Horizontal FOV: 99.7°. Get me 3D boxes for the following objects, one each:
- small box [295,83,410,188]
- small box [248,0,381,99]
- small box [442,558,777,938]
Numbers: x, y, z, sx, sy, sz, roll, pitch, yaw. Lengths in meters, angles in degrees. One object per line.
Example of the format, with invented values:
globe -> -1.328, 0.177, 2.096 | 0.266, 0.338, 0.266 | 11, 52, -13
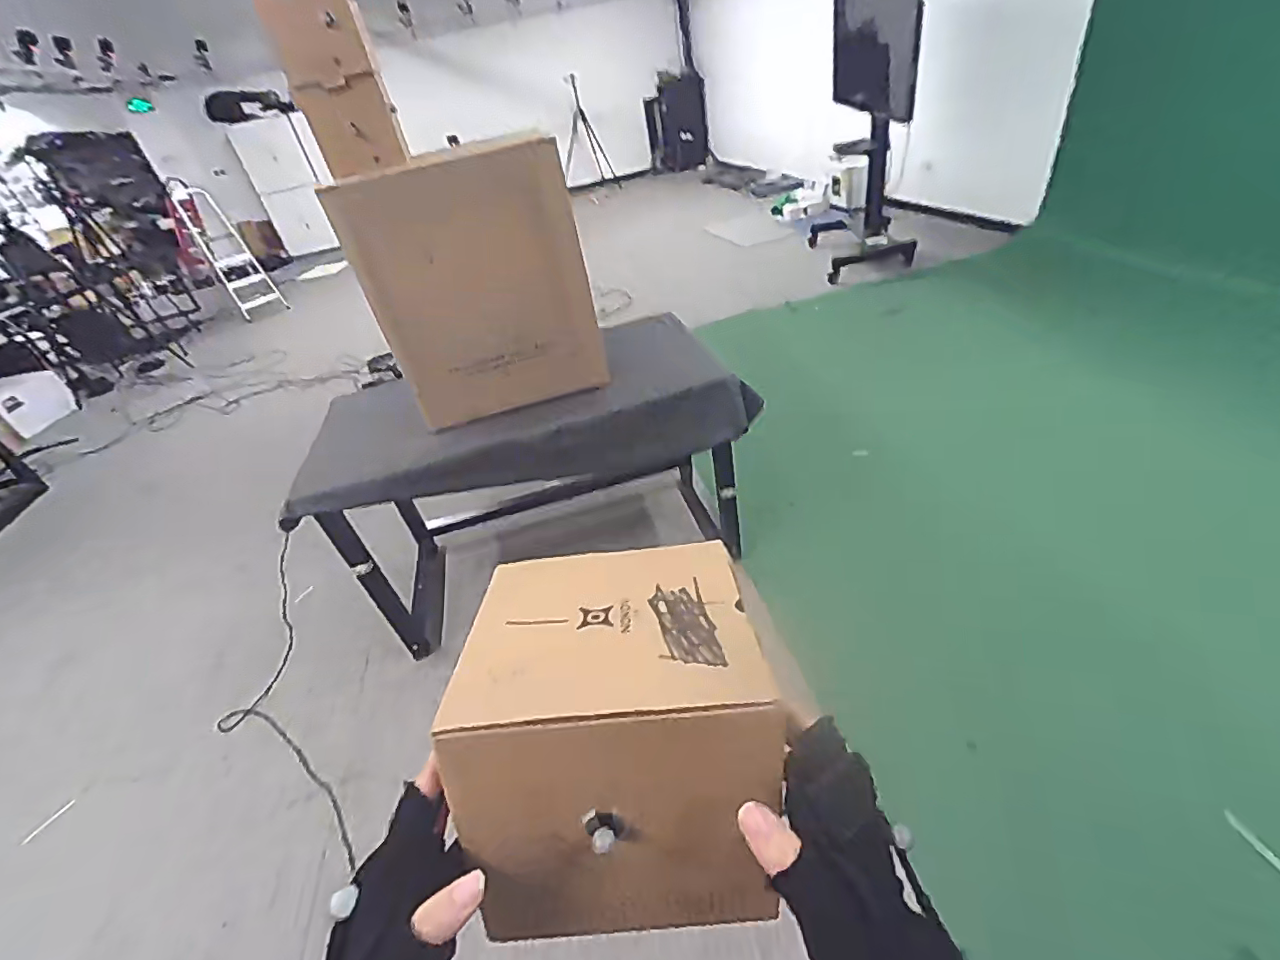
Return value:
small box -> -0.631, -0.770, 1.210 | 0.168, 0.176, 0.179 | -18, 39, -9
small box -> -0.652, -0.892, 1.105 | 0.168, 0.176, 0.179 | -16, 37, -8
small box -> -0.013, 0.173, 0.379 | 0.179, 0.176, 0.168 | -5, 20, -1
